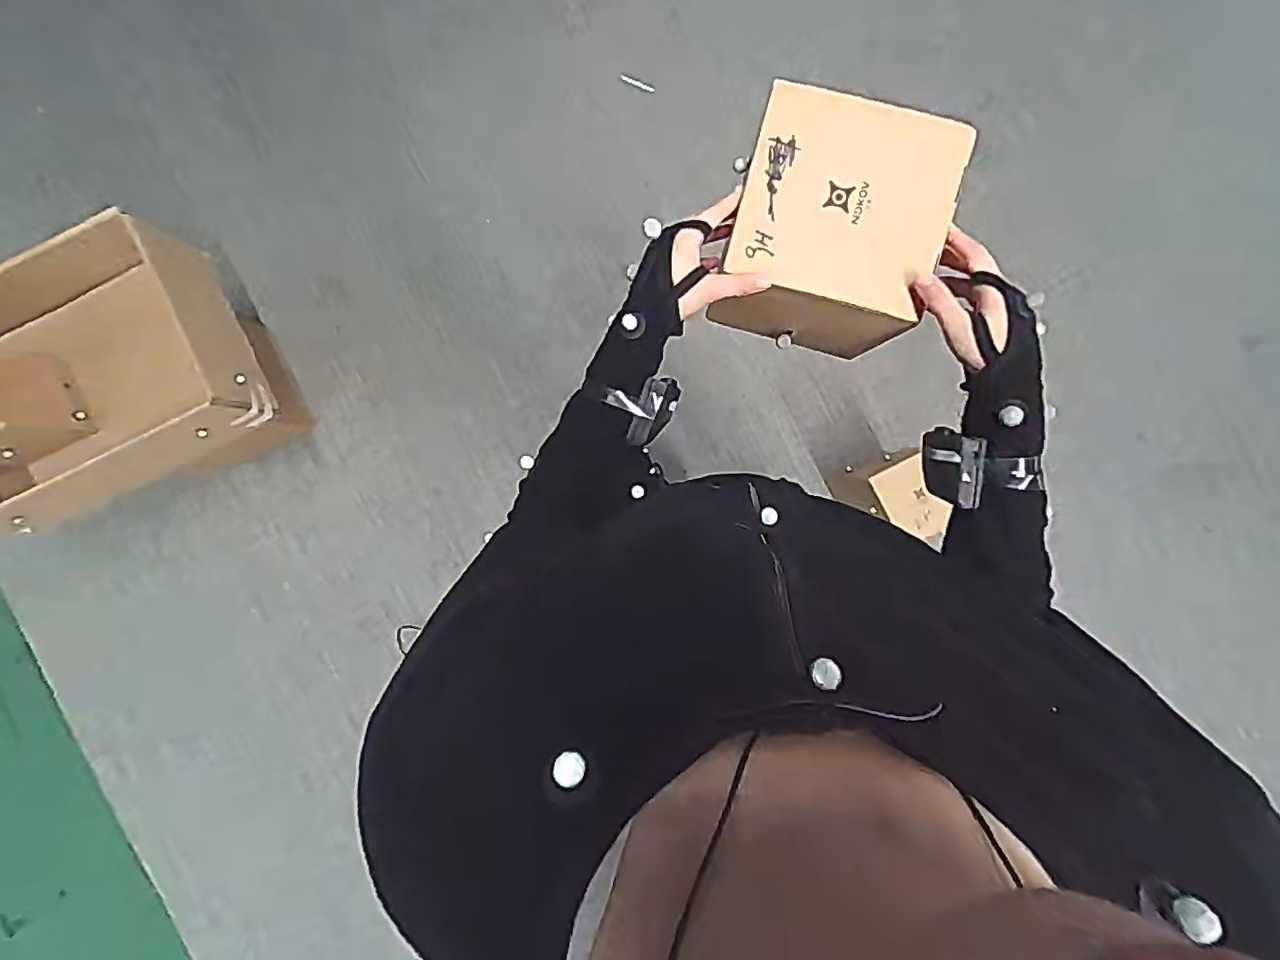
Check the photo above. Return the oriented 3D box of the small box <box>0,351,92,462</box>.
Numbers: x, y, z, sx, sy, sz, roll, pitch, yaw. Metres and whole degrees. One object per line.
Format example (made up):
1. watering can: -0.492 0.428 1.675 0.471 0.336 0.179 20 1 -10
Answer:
1. small box: -1.235 -0.141 1.051 0.179 0.176 0.168 -24 90 2

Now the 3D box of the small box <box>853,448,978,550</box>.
1. small box: 0.618 0.041 1.239 0.168 0.176 0.179 -27 90 4

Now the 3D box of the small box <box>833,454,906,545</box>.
1. small box: 0.630 0.048 1.403 0.168 0.176 0.179 -27 90 3

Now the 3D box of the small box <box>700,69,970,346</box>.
1. small box: 0.168 -0.239 0.525 0.179 0.176 0.168 16 92 1
